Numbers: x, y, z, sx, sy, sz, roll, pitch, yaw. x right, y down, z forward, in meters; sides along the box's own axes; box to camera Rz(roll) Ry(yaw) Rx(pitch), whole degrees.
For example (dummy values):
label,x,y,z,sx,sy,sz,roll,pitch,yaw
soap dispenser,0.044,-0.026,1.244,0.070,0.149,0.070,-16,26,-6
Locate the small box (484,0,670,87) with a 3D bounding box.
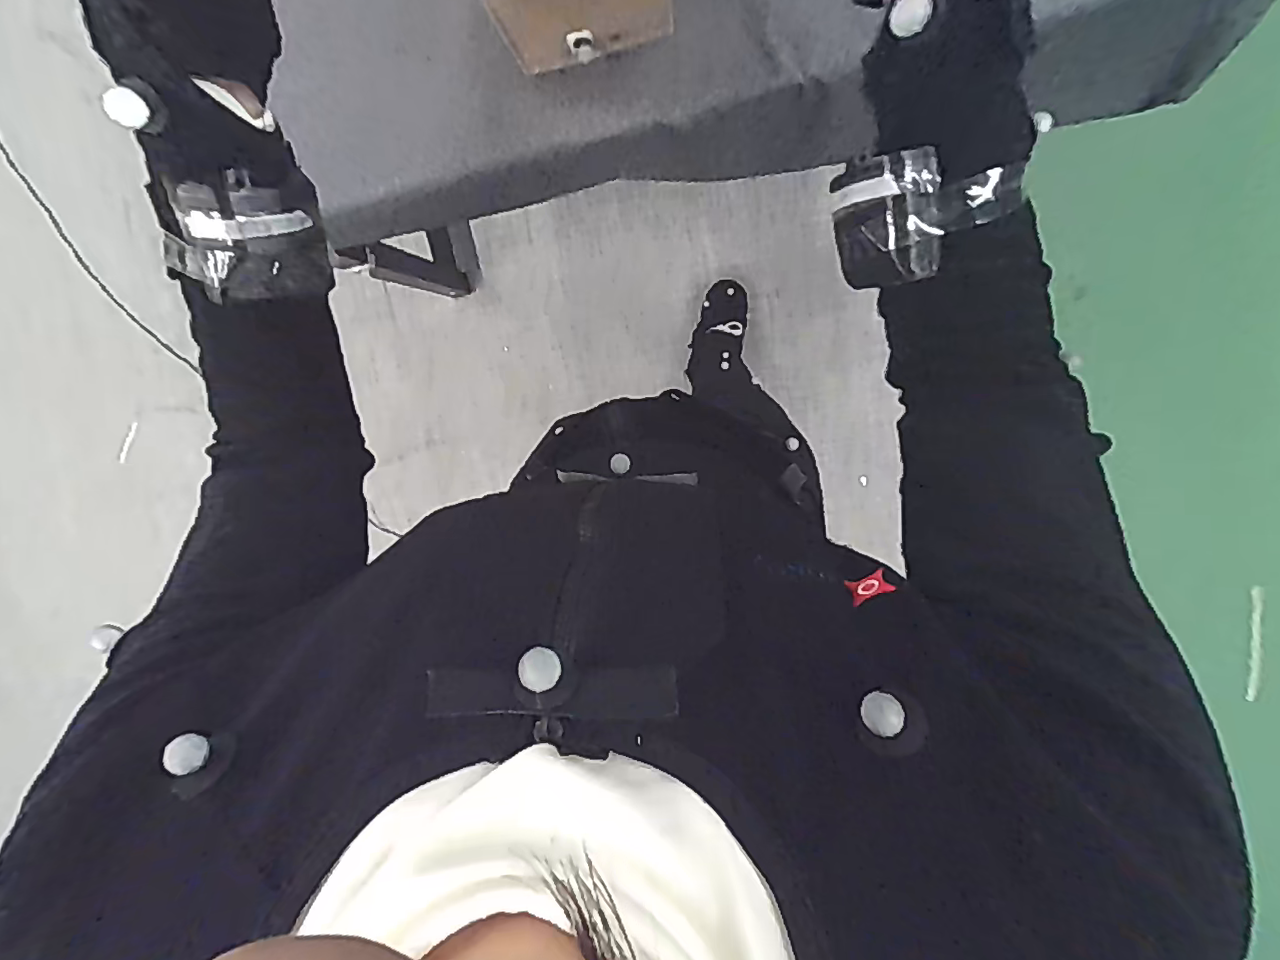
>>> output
label,x,y,z,sx,sy,sz,roll,pitch,yaw
small box,-0.072,-0.520,0.502,0.168,0.176,0.179,-12,100,10
